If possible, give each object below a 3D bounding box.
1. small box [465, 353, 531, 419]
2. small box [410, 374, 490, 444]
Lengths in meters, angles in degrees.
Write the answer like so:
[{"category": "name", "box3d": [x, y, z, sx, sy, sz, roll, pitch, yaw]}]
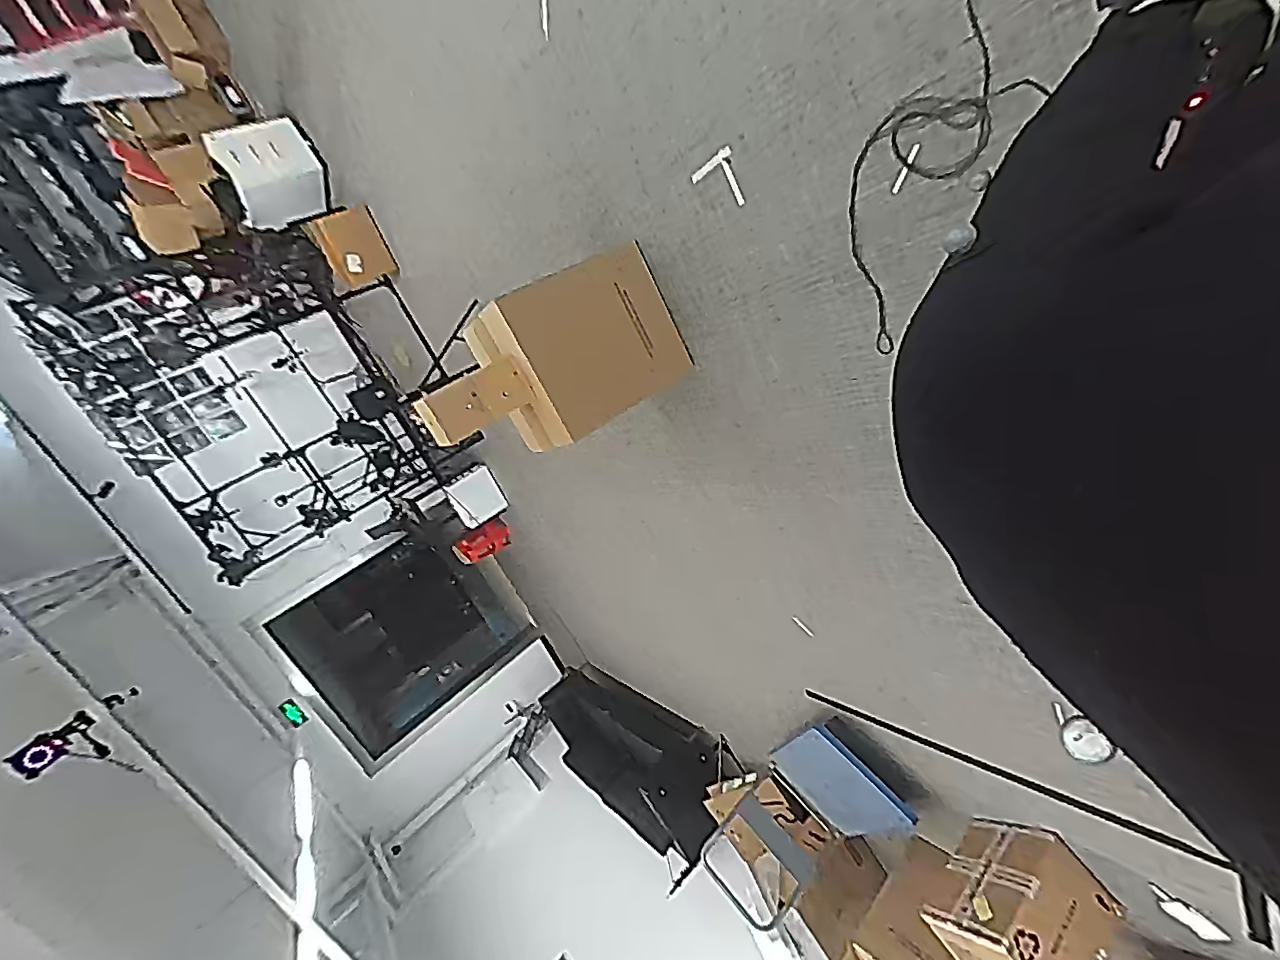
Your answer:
[{"category": "small box", "box3d": [-0.495, -0.316, 1.838, 0.179, 0.176, 0.168, 1, 123, 58]}, {"category": "small box", "box3d": [-0.618, -0.230, 1.768, 0.179, 0.176, 0.168, 4, 126, 56]}]
